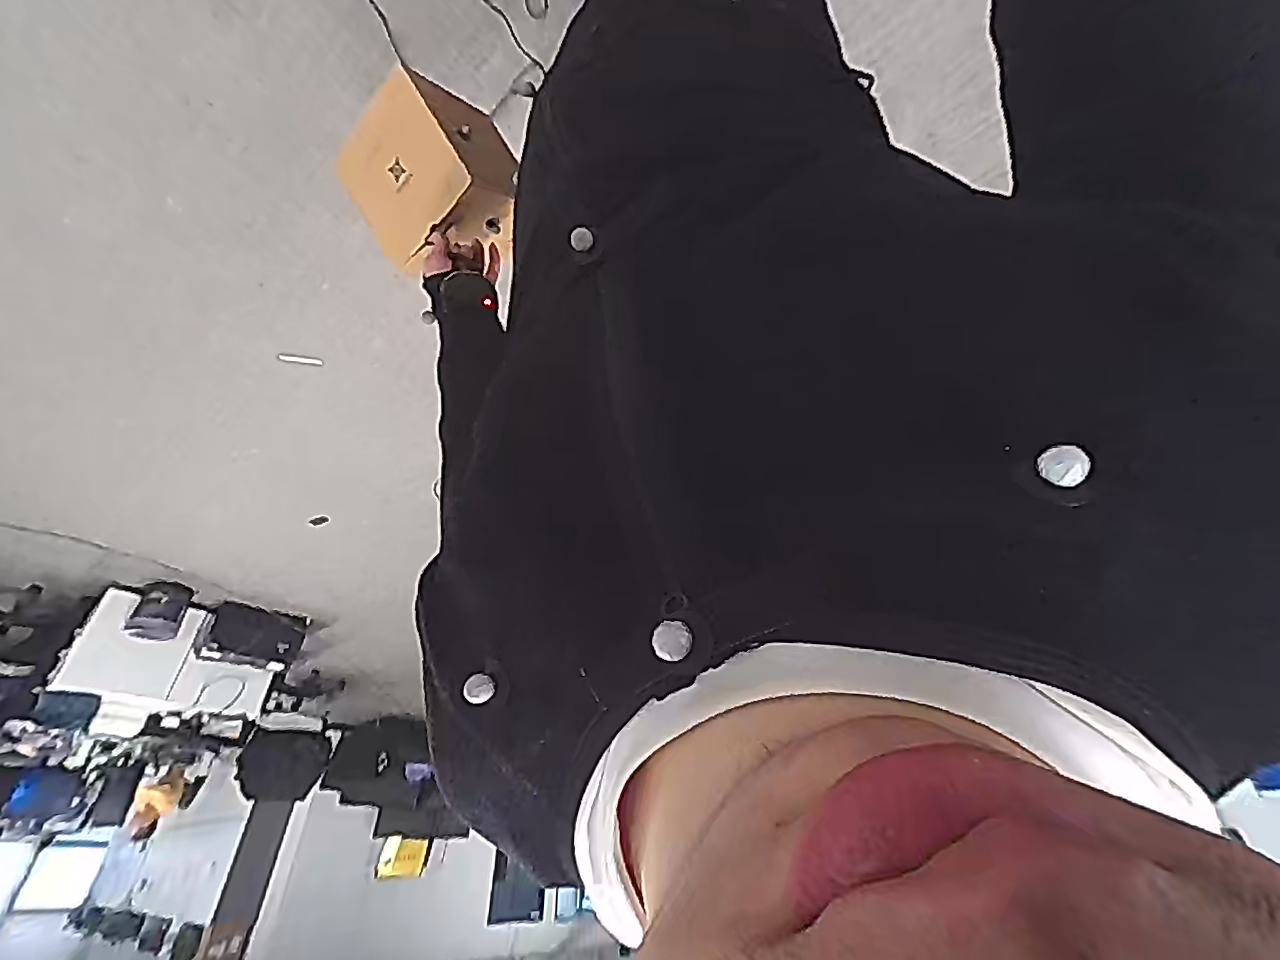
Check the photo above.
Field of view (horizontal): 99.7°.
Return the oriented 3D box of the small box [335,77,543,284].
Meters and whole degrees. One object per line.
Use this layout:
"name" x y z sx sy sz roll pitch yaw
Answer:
"small box" -0.268 -0.392 0.751 0.168 0.179 0.176 -32 178 26
